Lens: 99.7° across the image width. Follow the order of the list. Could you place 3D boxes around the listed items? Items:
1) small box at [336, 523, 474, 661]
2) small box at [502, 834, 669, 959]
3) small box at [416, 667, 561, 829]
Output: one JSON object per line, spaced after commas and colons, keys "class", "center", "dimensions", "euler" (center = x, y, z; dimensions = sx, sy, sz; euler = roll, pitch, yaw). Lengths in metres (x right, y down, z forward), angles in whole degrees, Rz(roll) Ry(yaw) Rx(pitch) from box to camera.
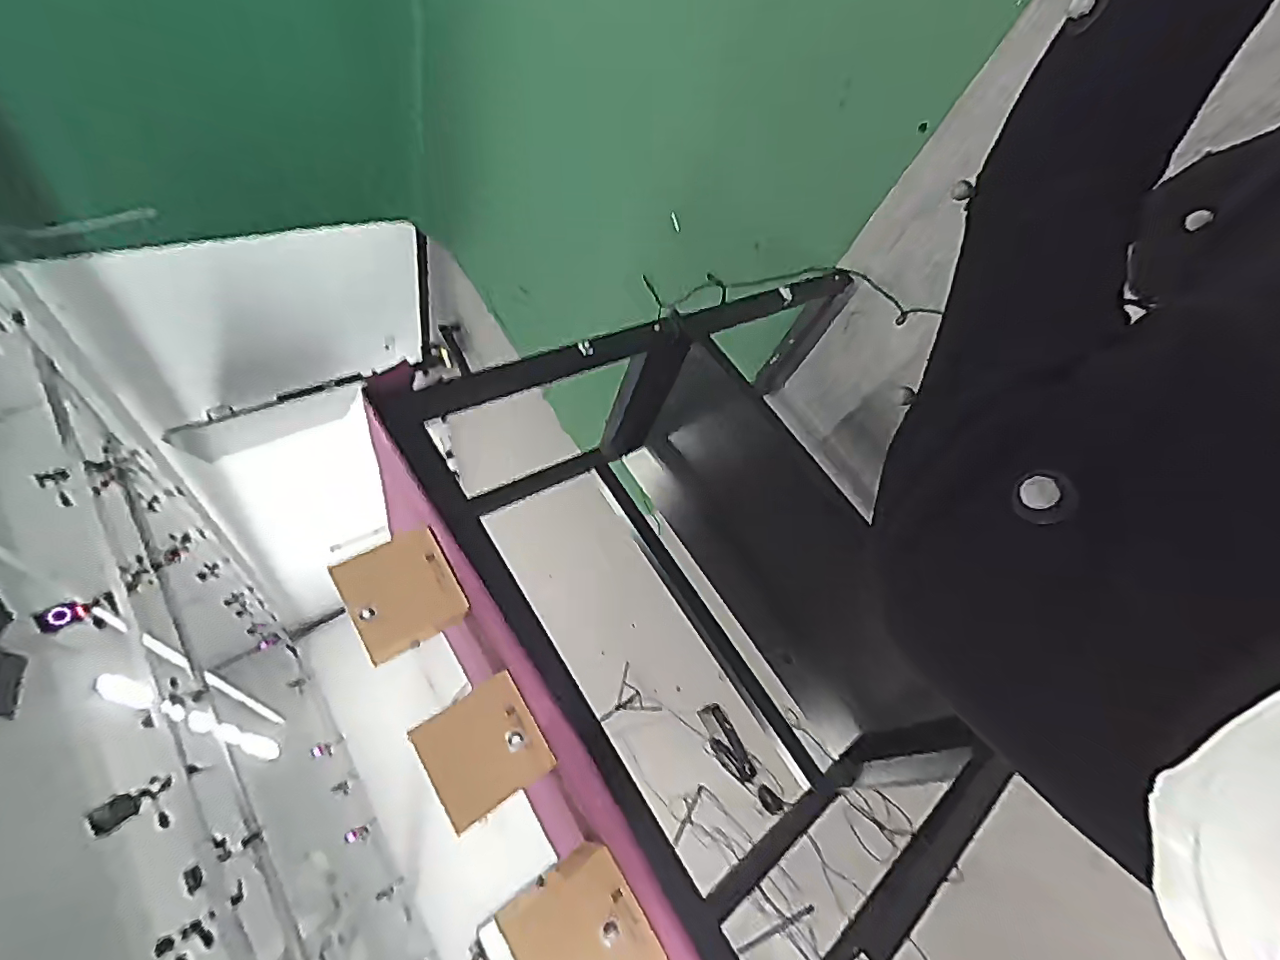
{"class": "small box", "center": [-0.412, 0.202, 0.968], "dimensions": [0.168, 0.176, 0.179], "euler": [58, 151, 9]}
{"class": "small box", "center": [-0.082, 0.649, 0.785], "dimensions": [0.168, 0.176, 0.179], "euler": [54, 148, 18]}
{"class": "small box", "center": [-0.248, 0.433, 0.888], "dimensions": [0.168, 0.176, 0.179], "euler": [55, 148, 14]}
